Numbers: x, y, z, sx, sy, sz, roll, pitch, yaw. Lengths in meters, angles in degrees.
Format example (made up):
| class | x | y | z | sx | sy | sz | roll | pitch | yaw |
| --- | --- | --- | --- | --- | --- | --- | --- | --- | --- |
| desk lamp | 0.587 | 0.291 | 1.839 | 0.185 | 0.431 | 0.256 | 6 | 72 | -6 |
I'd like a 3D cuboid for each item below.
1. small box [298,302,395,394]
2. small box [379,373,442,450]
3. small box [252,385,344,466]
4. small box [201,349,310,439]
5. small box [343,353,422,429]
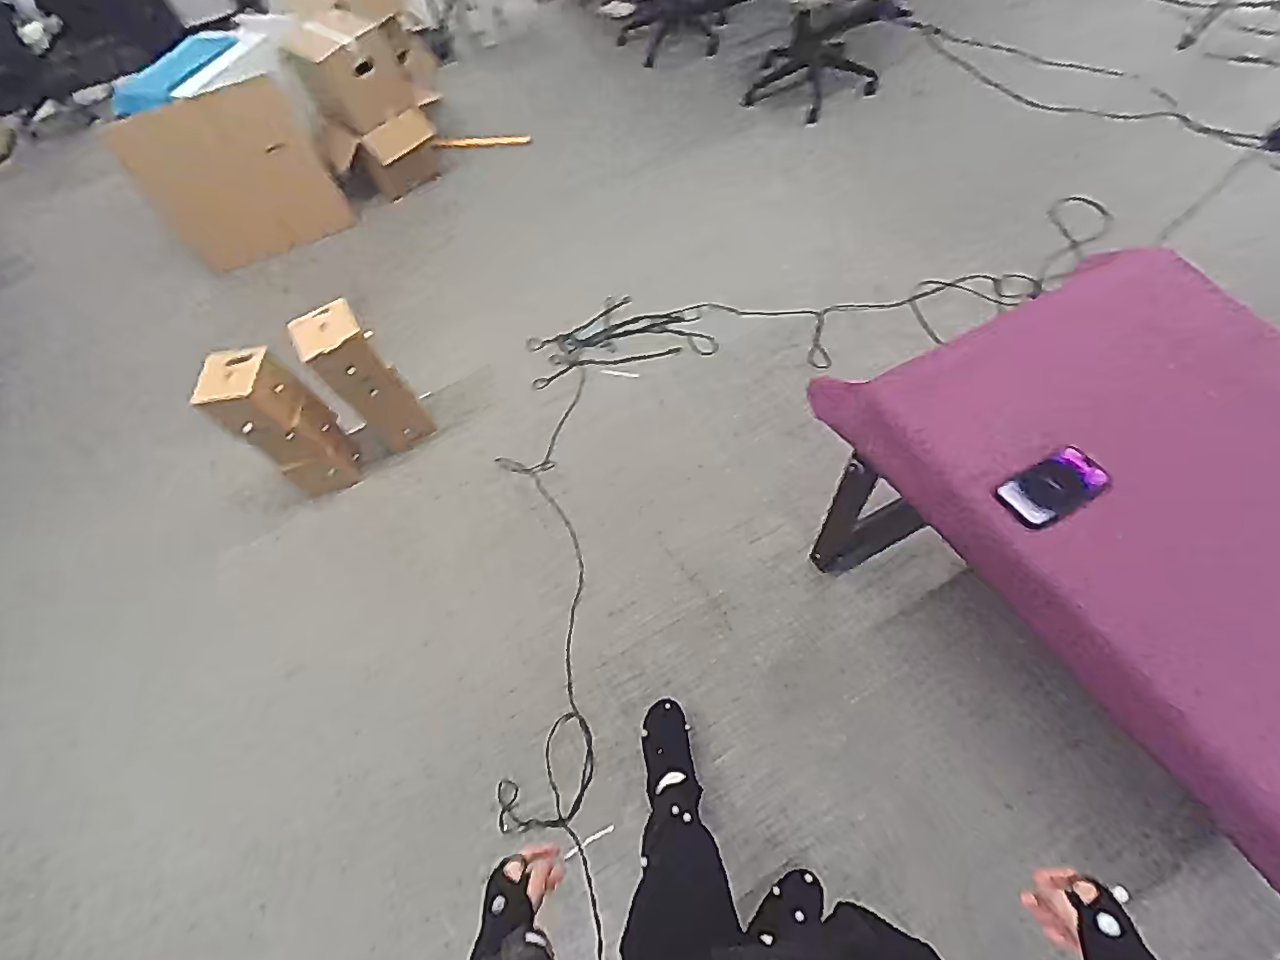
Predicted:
| class | x | y | z | sx | sy | sz | roll | pitch | yaw |
| --- | --- | --- | --- | --- | --- | --- | --- | --- | --- |
| small box | -0.847 | -0.375 | 1.574 | 0.168 | 0.176 | 0.179 | -31 | 62 | -10 |
| small box | -0.814 | -0.226 | 1.862 | 0.168 | 0.176 | 0.179 | -34 | 60 | -12 |
| small box | -1.055 | -0.164 | 1.672 | 0.179 | 0.176 | 0.168 | -12 | 58 | 0 |
| small box | -1.073 | -0.241 | 1.527 | 0.168 | 0.176 | 0.179 | -8 | 59 | 2 |
| small box | -0.833 | -0.295 | 1.716 | 0.179 | 0.176 | 0.168 | -38 | 63 | -14 |
